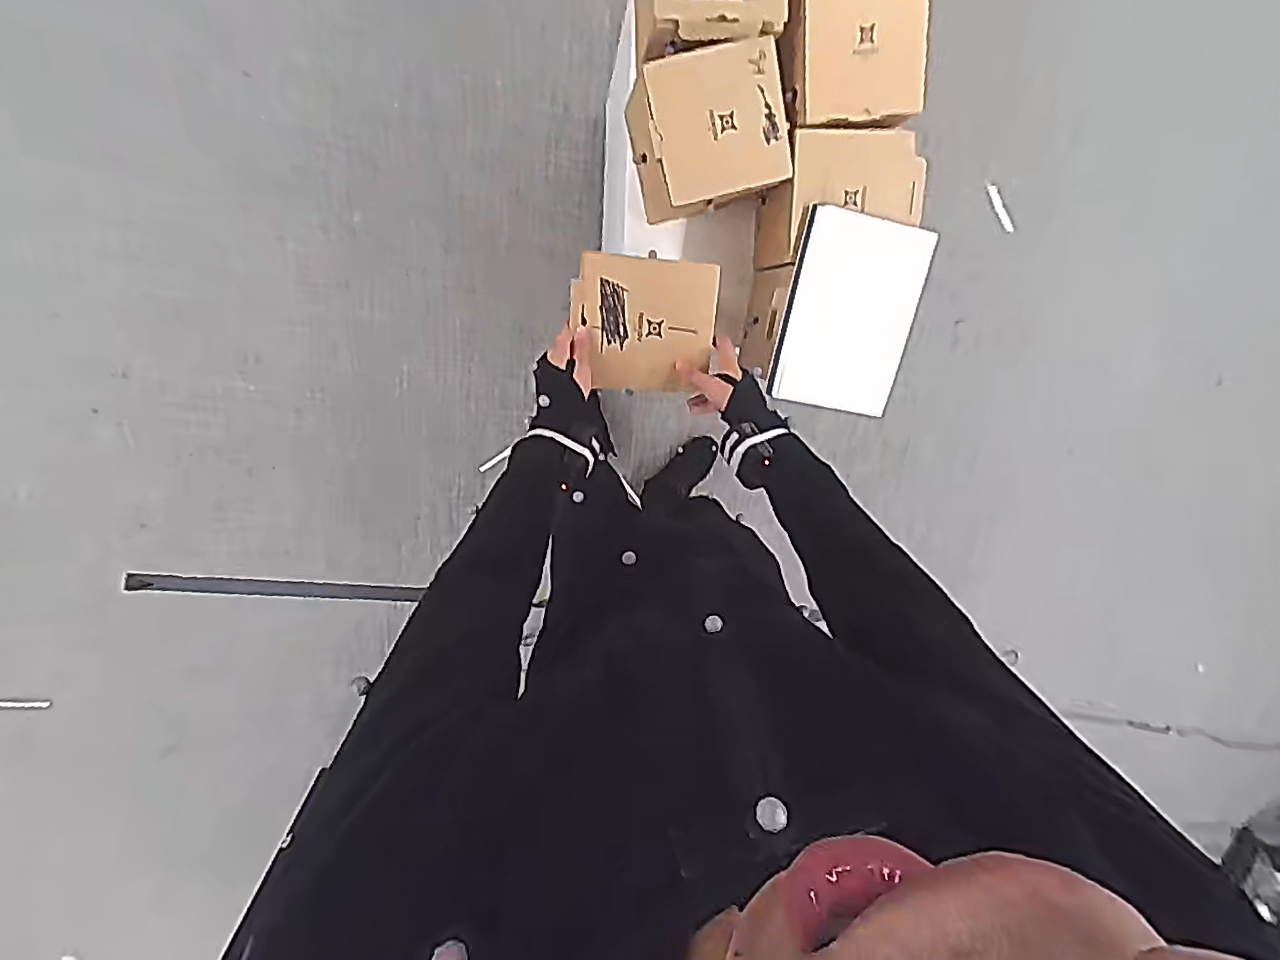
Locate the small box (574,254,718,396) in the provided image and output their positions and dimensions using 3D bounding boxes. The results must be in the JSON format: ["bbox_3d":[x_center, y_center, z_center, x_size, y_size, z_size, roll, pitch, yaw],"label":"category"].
[{"bbox_3d":[-0.004,-0.218,0.770,0.179,0.176,0.168,2,108,-9],"label":"small box"}]
